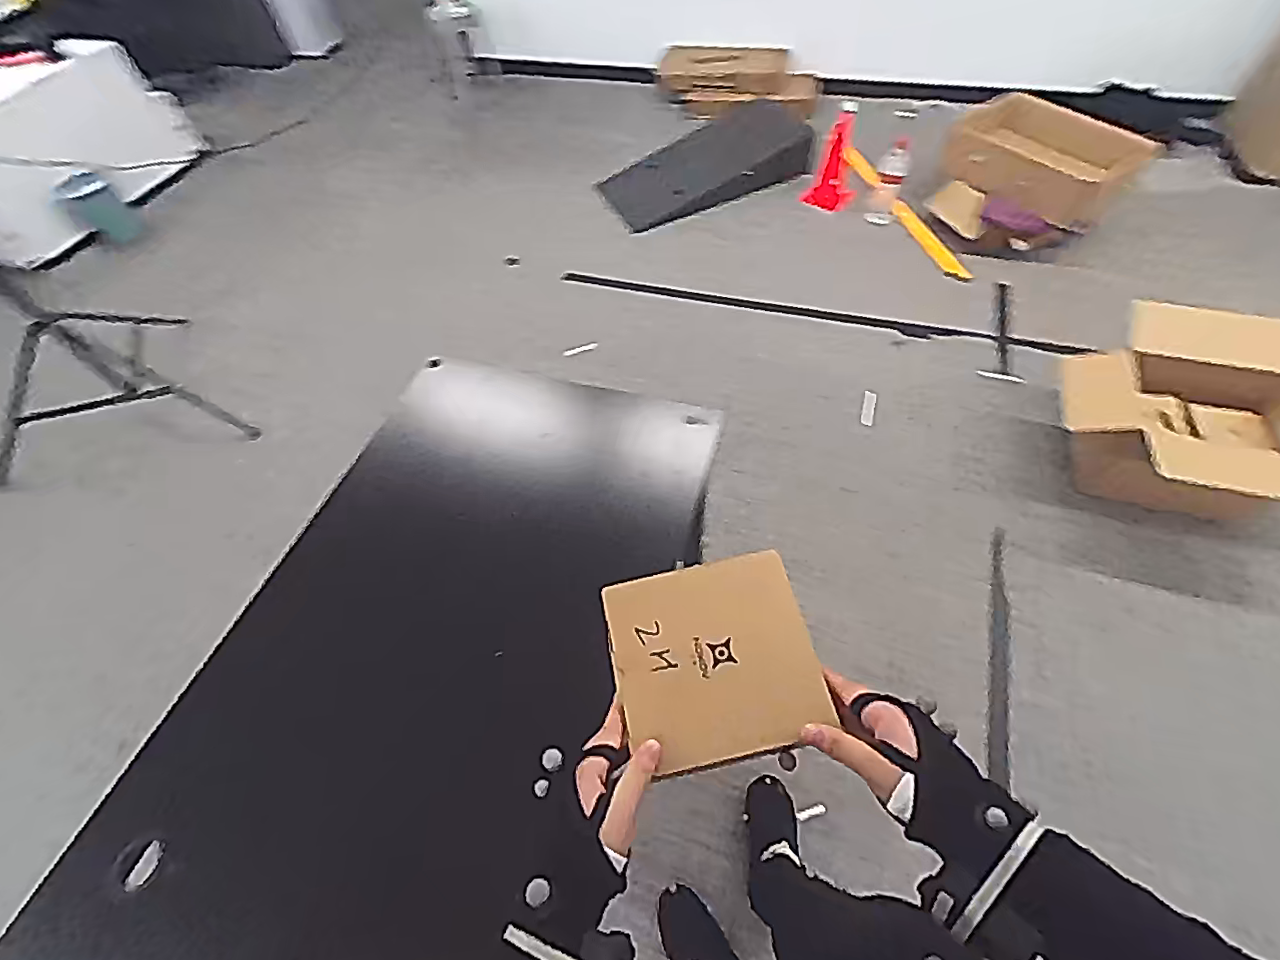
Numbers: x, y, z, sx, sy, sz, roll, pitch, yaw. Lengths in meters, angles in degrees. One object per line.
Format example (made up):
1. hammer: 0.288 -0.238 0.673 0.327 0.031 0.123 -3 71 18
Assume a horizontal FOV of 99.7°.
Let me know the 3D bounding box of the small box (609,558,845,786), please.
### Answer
1. small box: 0.076 0.198 0.542 0.179 0.176 0.168 -13 59 0
